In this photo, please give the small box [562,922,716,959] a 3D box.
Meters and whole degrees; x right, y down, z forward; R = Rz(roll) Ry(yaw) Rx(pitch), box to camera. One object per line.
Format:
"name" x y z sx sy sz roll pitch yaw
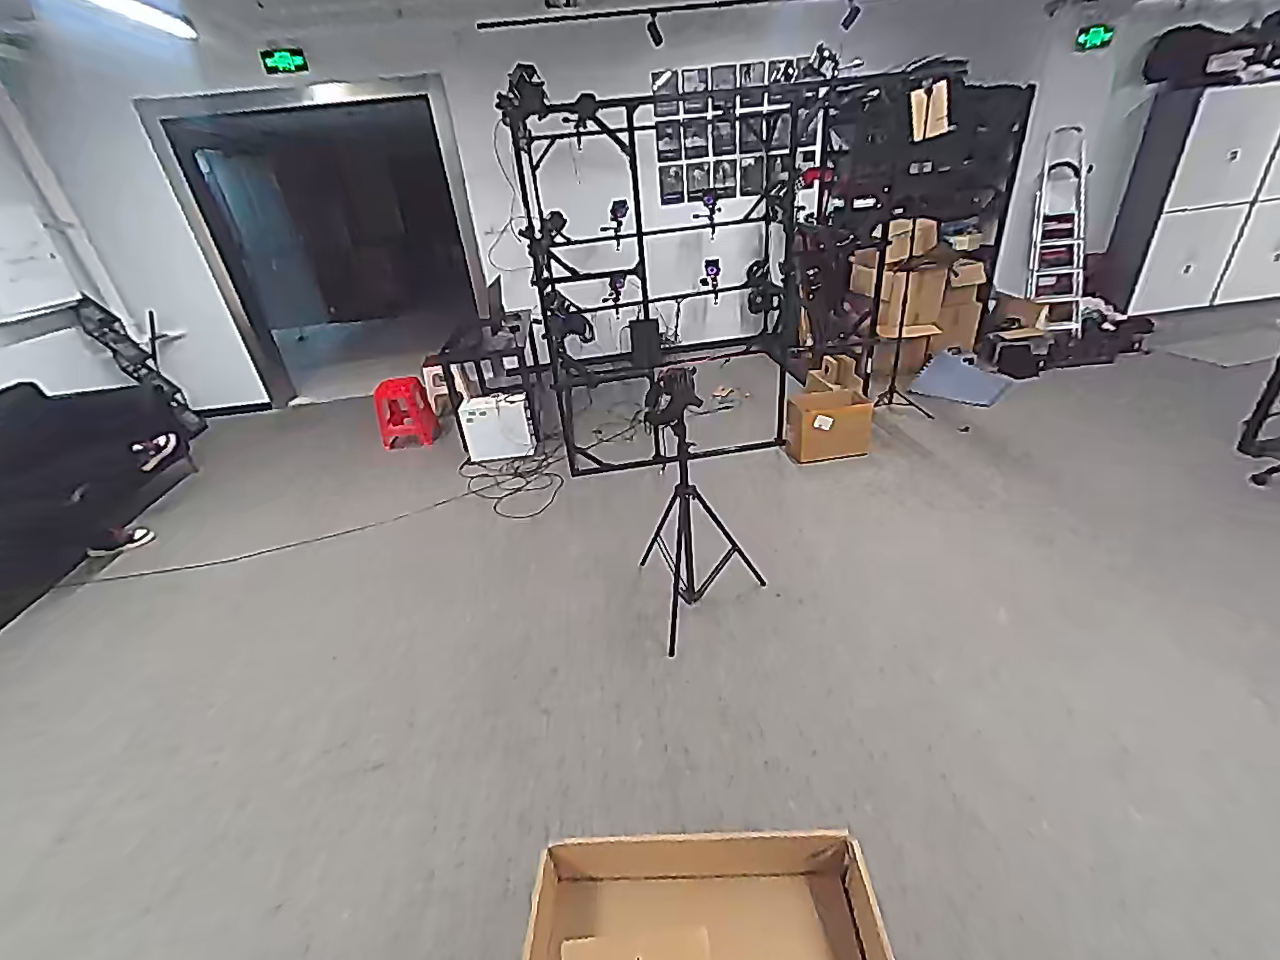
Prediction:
"small box" 0.008 0.609 0.576 0.168 0.176 0.179 -5 38 -2
